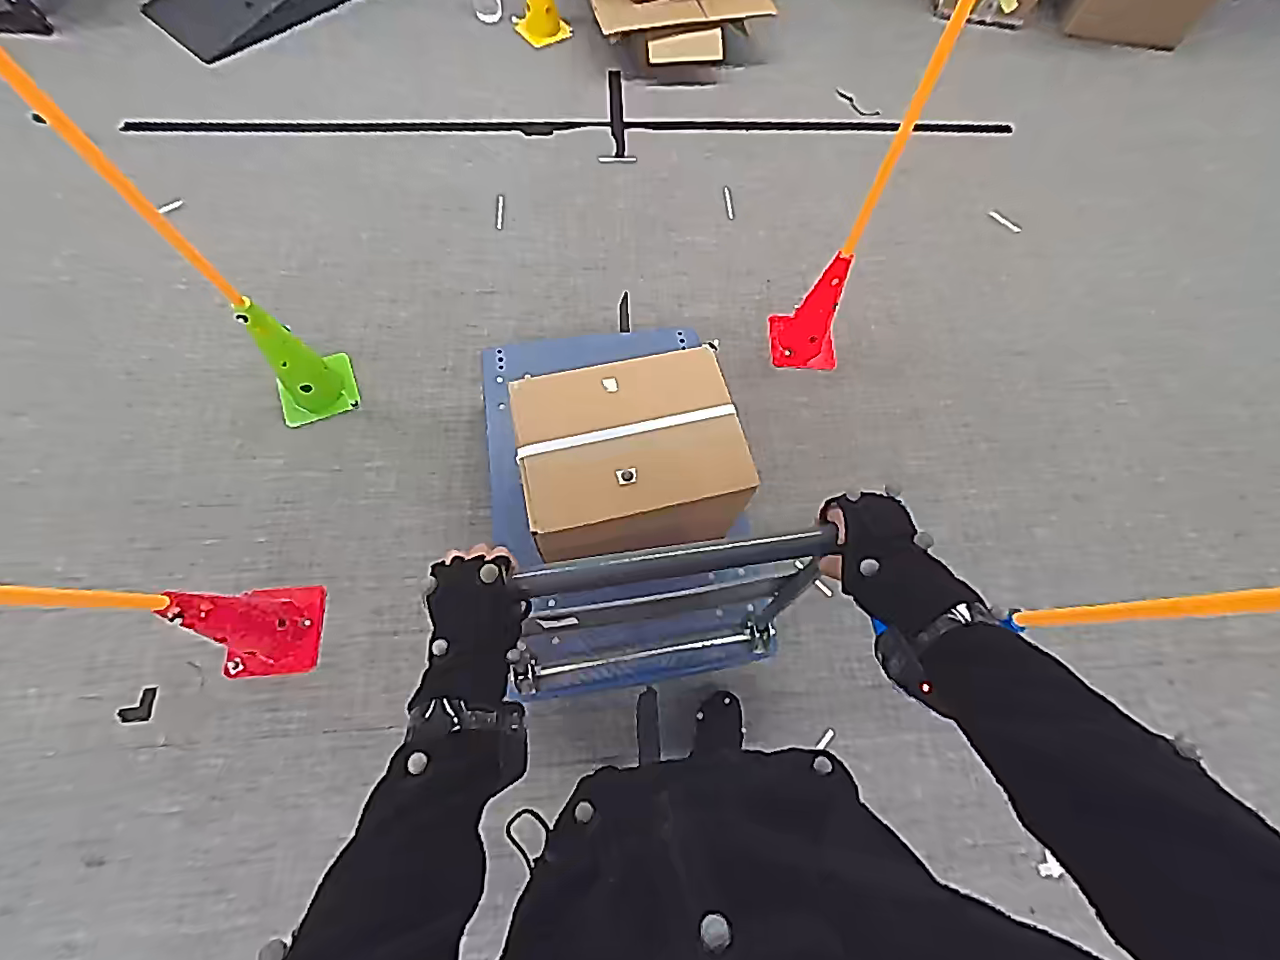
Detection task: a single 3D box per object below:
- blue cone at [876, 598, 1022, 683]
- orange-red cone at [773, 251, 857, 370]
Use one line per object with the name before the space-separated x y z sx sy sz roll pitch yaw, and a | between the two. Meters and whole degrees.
blue cone | 0.706 0.329 1.195 0.193 0.380 0.192 -6 66 -6
orange-red cone | 0.524 -0.499 1.528 0.199 0.360 0.198 4 67 -2
